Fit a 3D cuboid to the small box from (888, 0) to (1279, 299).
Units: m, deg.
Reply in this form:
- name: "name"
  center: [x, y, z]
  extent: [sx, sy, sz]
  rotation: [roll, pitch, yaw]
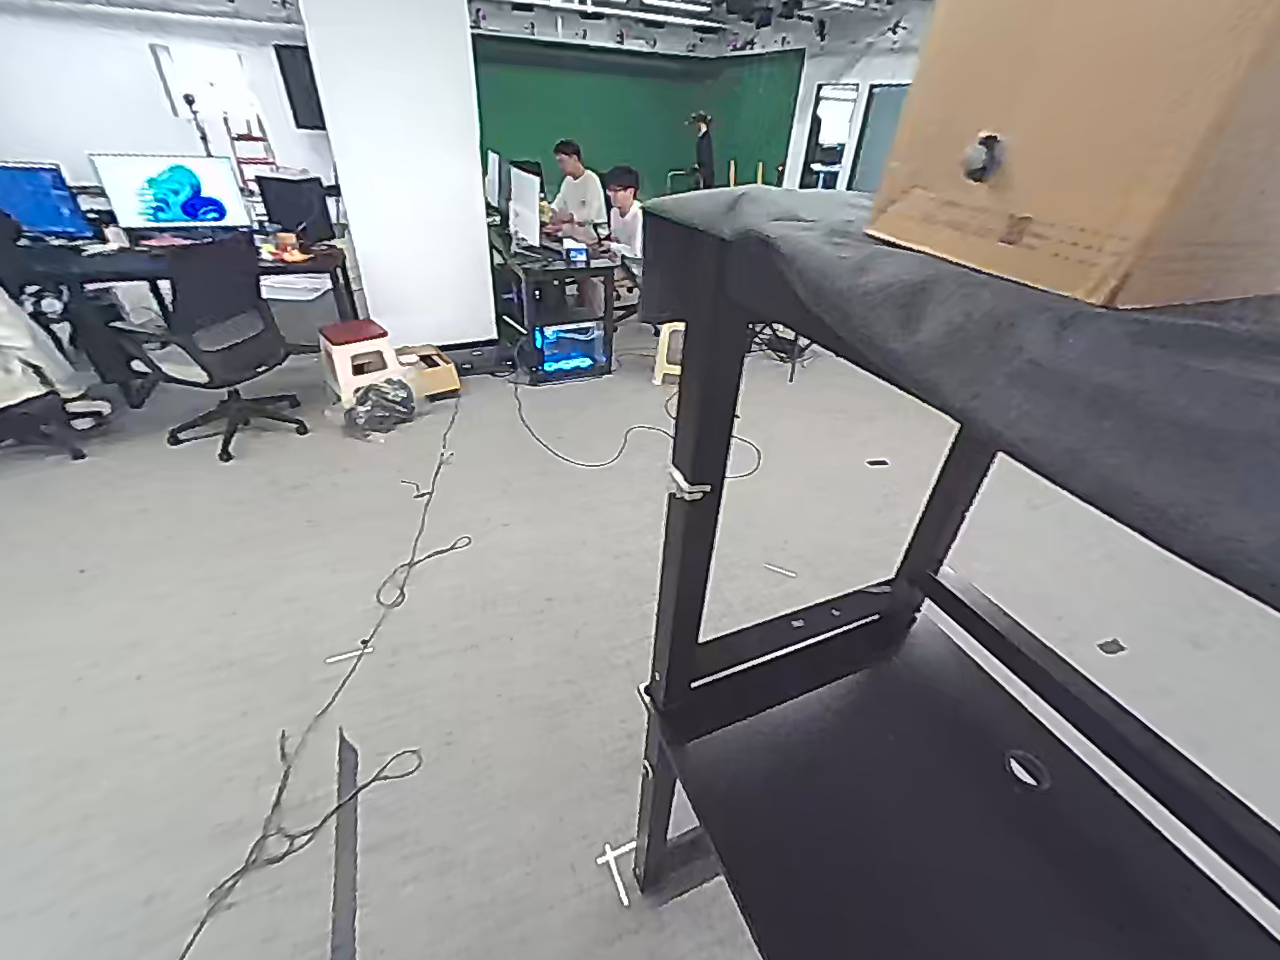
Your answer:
- name: "small box"
  center: [0.276, -0.208, 0.297]
  extent: [0.179, 0.176, 0.168]
  rotation: [-11, 38, -22]
